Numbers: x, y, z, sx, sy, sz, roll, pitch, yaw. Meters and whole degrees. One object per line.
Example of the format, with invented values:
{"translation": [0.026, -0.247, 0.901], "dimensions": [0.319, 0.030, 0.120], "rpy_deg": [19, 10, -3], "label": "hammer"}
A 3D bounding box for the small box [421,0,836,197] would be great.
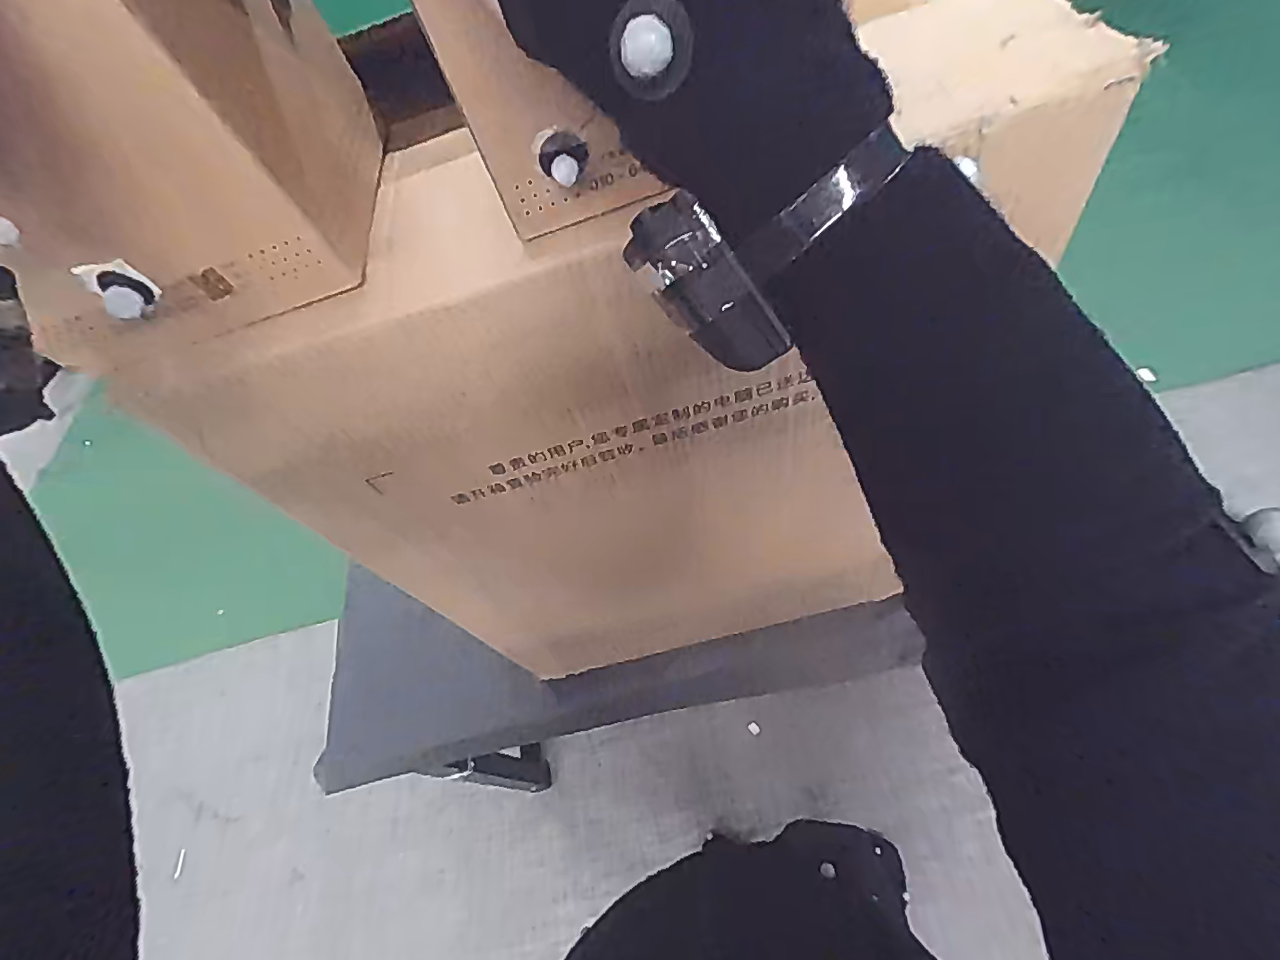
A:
{"translation": [-0.018, -0.257, 0.242], "dimensions": [0.168, 0.176, 0.179], "rpy_deg": [-18, 57, 2], "label": "small box"}
